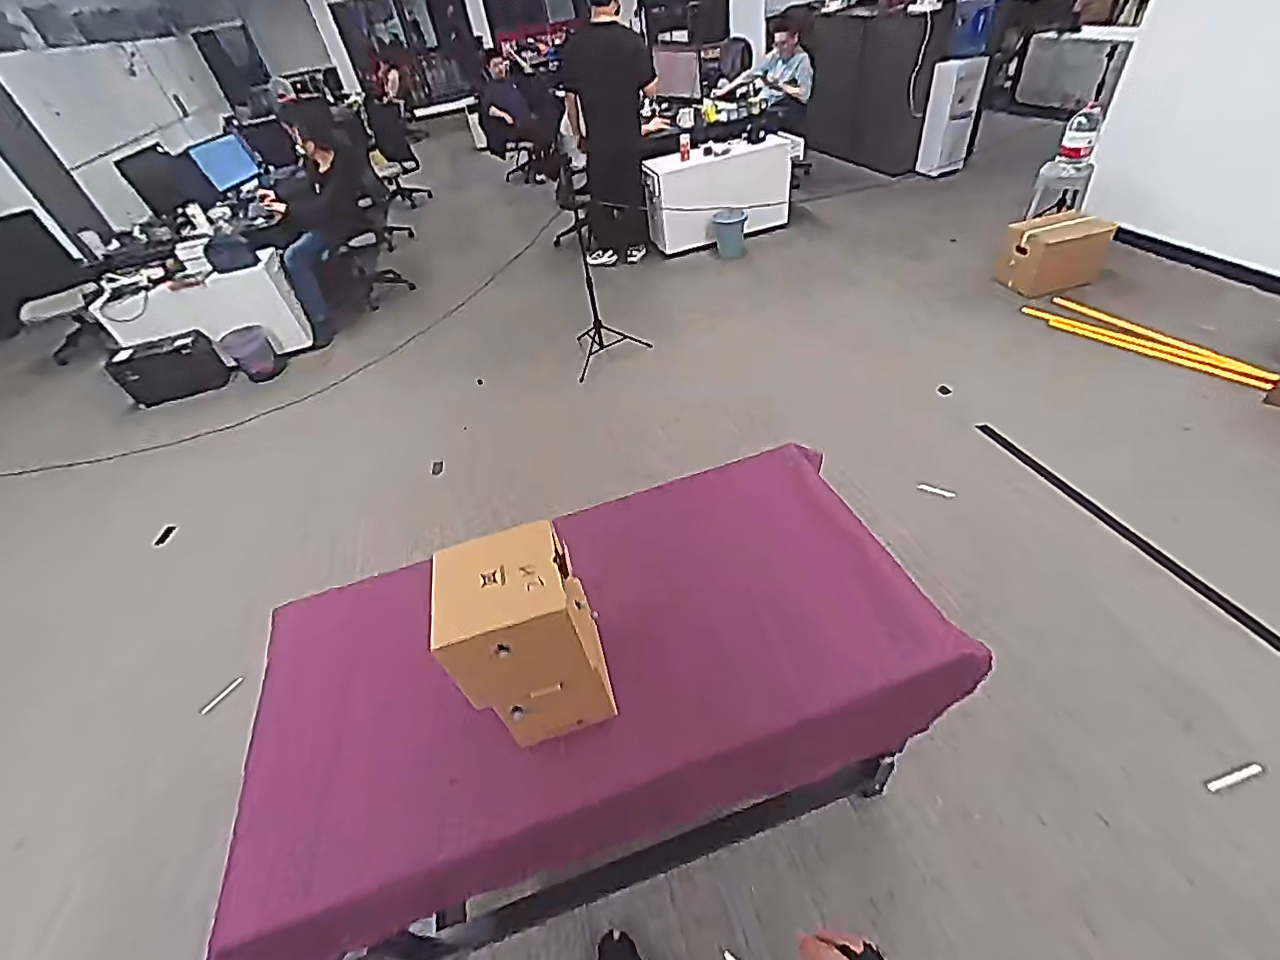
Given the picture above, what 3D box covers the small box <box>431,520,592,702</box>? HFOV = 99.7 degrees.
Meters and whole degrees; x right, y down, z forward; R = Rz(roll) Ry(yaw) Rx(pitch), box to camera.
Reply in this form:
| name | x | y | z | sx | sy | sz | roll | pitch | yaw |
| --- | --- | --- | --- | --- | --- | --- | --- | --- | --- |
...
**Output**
| name | x | y | z | sx | sy | sz | roll | pitch | yaw |
| --- | --- | --- | --- | --- | --- | --- | --- | --- | --- |
| small box | -0.180 | 0.191 | 0.779 | 0.179 | 0.176 | 0.168 | -15 | 43 | -6 |
